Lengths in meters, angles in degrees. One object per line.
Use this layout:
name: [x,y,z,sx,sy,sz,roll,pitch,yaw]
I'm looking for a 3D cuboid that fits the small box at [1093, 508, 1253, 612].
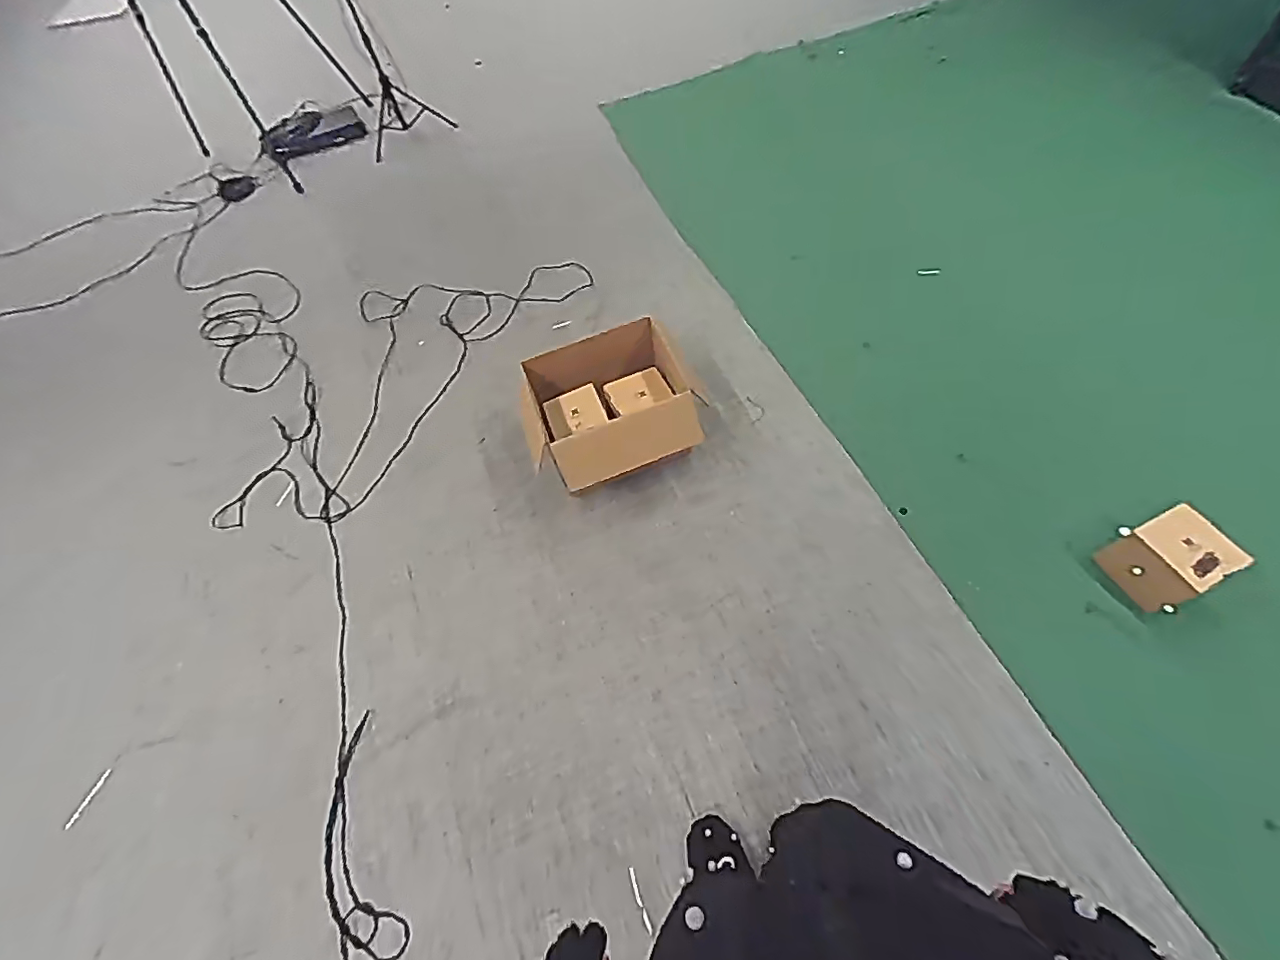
small box: [1.277,0.203,1.312,0.168,0.176,0.179,-24,59,-8]
